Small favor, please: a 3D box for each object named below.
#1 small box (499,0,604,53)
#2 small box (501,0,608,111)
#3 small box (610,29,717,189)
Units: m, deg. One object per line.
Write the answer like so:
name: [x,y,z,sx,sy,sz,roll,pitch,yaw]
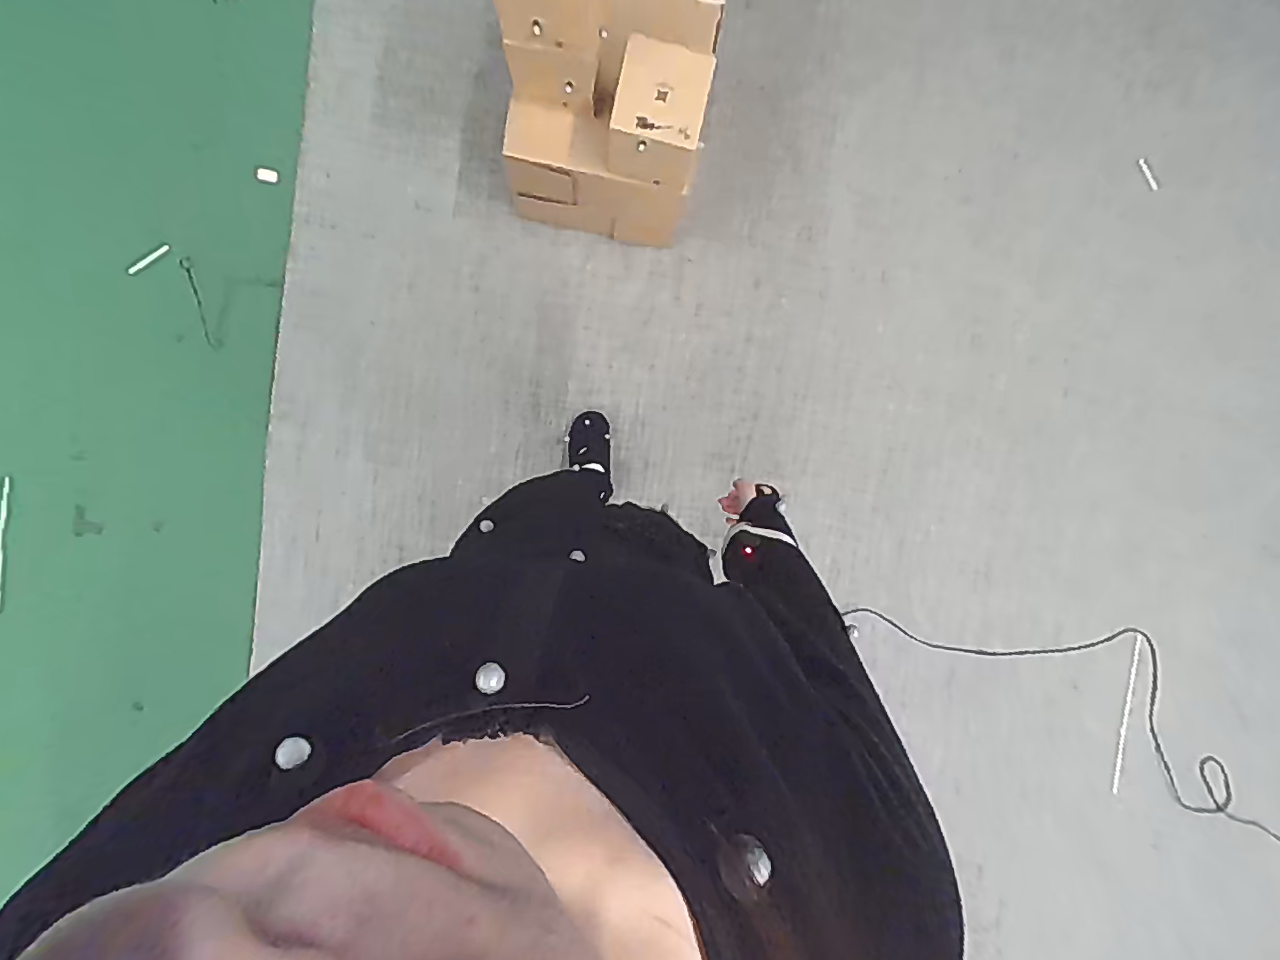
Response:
small box: [-0.142,-0.858,0.881,0.168,0.176,0.179,11,93,-3]
small box: [-0.157,-0.861,1.045,0.168,0.176,0.179,11,91,-3]
small box: [0.037,-0.713,1.058,0.168,0.176,0.179,13,91,-4]
